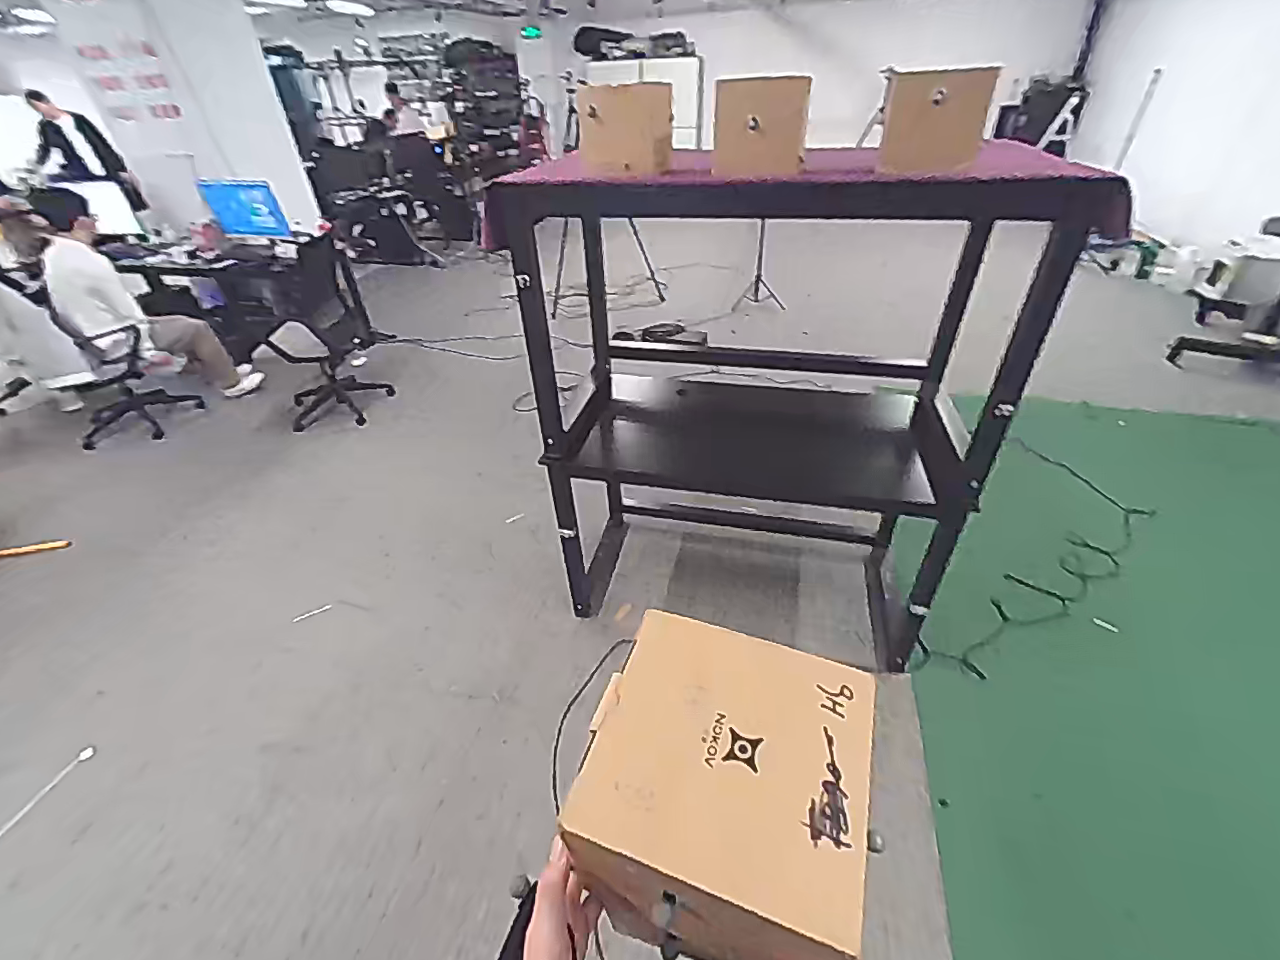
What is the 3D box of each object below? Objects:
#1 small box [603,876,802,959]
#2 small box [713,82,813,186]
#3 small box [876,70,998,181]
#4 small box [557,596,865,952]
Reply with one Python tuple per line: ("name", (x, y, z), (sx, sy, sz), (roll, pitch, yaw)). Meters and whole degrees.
("small box", (0.074, 0.338, 0.533), (0.168, 0.176, 0.179), (9, 43, 13))
("small box", (0.257, -0.724, 1.134), (0.179, 0.176, 0.168), (8, 37, 17))
("small box", (0.573, -0.695, 1.069), (0.179, 0.176, 0.168), (9, 37, 18))
("small box", (0.060, 0.222, 0.416), (0.179, 0.176, 0.168), (12, 44, 17))
